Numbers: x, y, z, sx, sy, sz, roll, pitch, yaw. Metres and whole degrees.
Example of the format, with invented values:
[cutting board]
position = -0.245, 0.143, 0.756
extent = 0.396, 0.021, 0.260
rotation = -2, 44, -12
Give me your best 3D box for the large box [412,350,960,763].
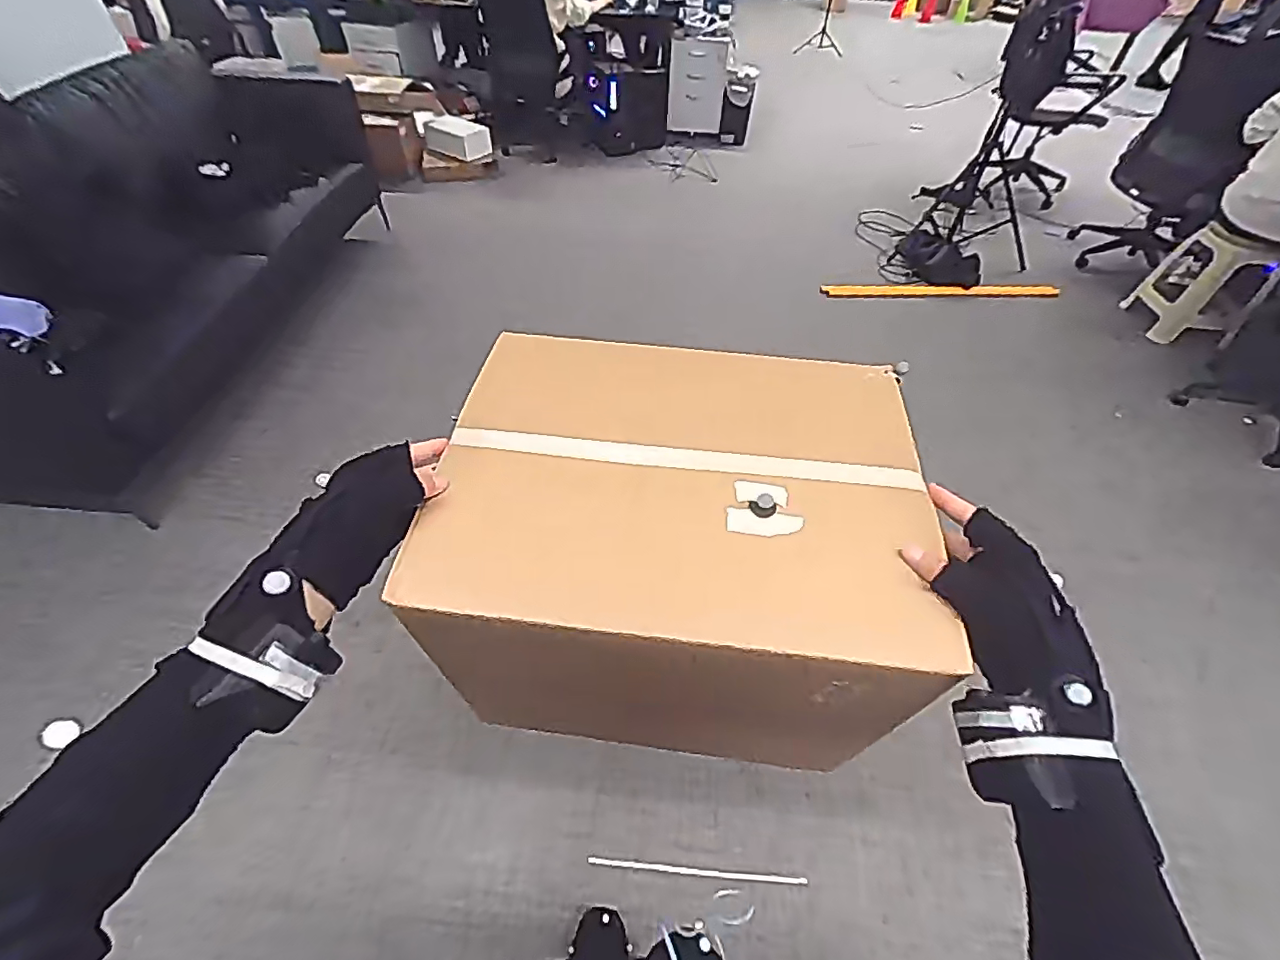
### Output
[large box]
position = 0.038, 0.089, 0.592
extent = 0.408, 0.320, 0.320
rotation = 6, 51, 3
